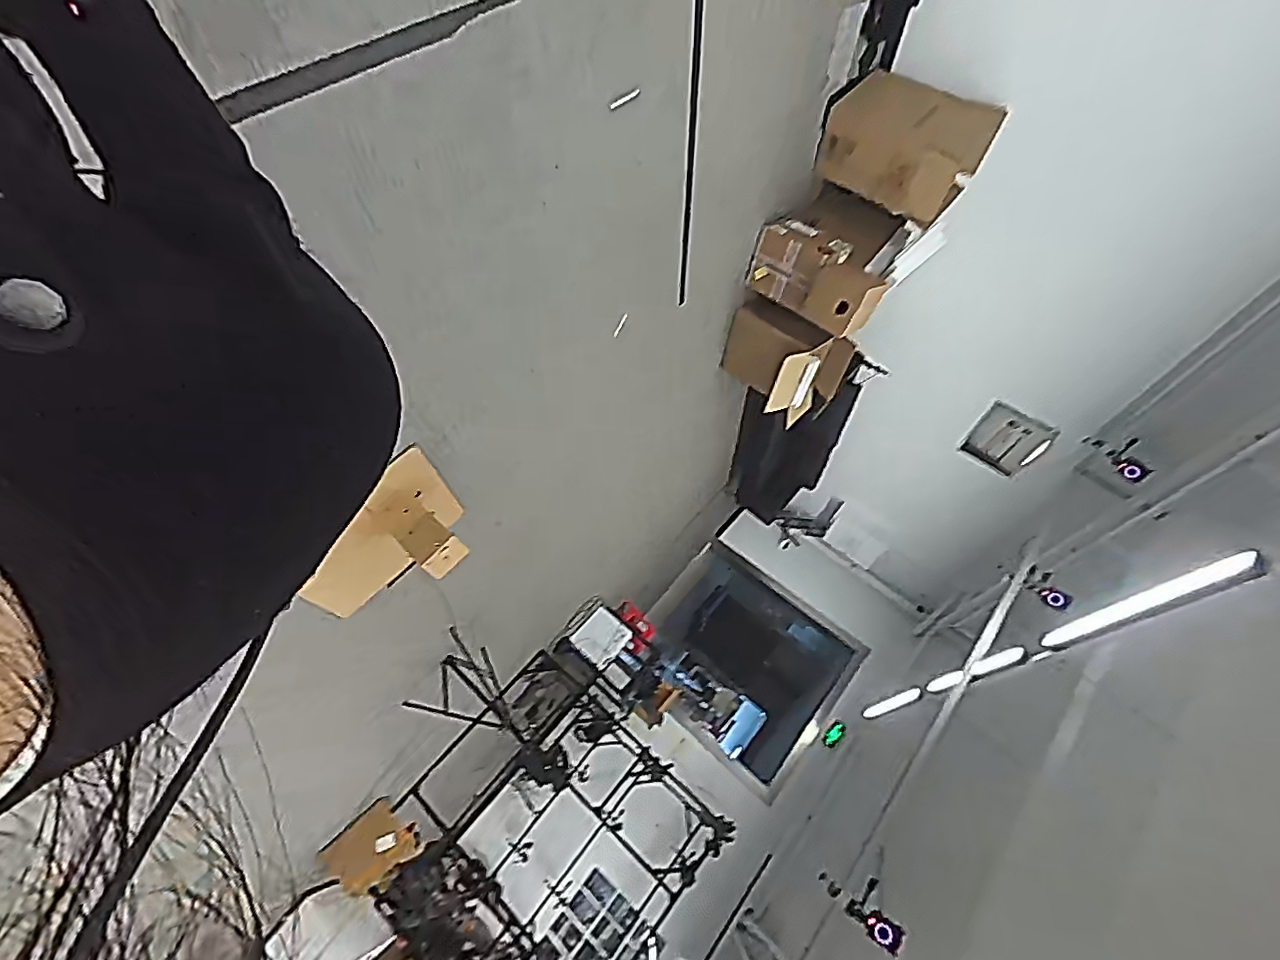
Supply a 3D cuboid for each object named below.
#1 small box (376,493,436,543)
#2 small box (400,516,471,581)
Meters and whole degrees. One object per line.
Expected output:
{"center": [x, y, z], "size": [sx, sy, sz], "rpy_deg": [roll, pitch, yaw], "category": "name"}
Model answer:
{"center": [-0.942, 0.180, 2.221], "size": [0.168, 0.176, 0.179], "rpy_deg": [-46, 158, -18], "category": "small box"}
{"center": [-0.818, 0.272, 2.165], "size": [0.168, 0.176, 0.179], "rpy_deg": [-47, 159, -17], "category": "small box"}
